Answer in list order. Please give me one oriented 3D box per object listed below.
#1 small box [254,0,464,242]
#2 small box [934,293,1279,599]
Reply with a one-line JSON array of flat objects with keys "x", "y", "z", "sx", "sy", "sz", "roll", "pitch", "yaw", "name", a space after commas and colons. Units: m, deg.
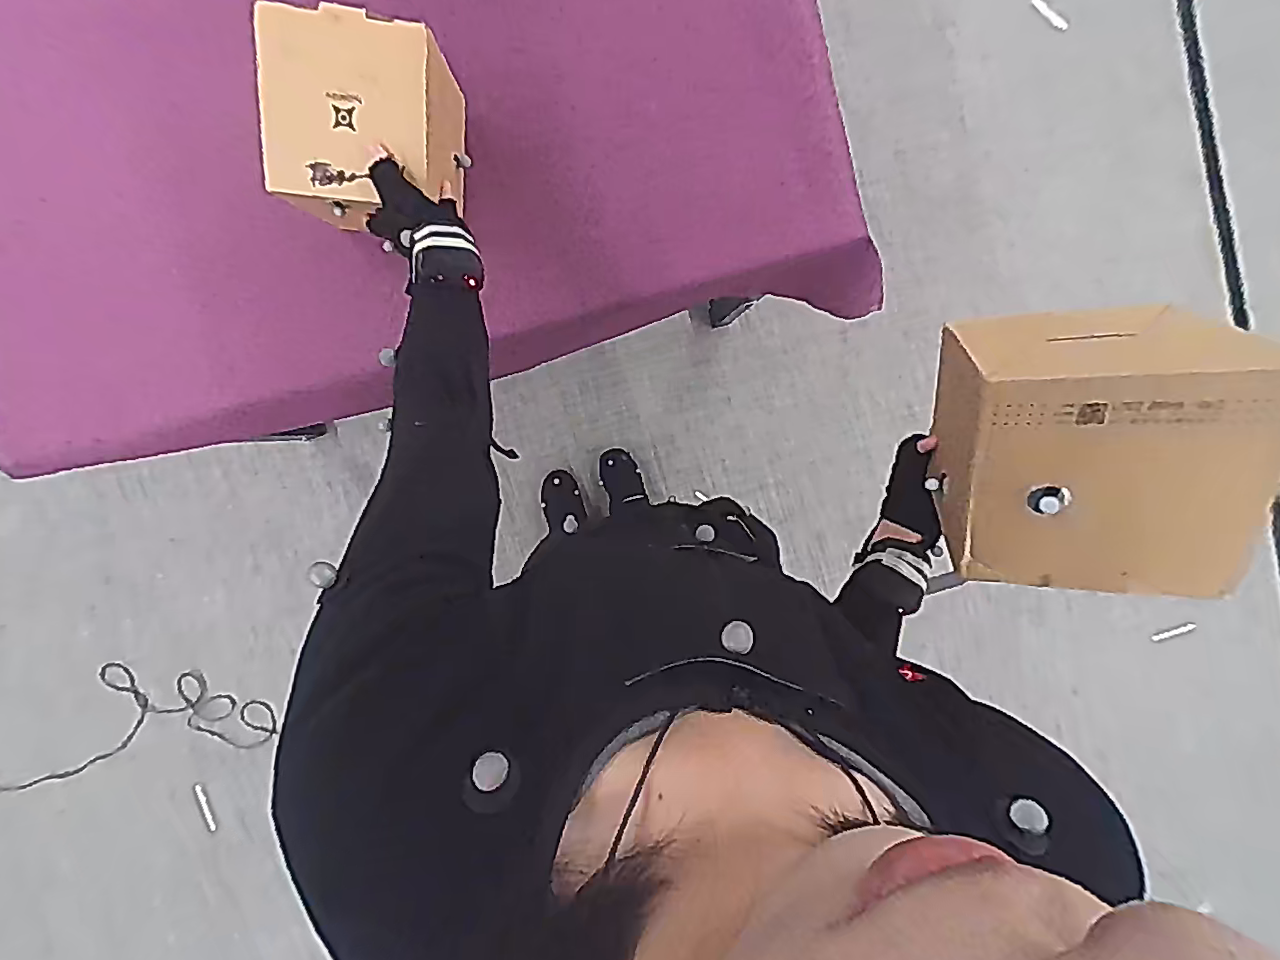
[{"x": -0.306, "y": -0.393, "z": 0.622, "sx": 0.168, "sy": 0.176, "sz": 0.179, "roll": 4, "pitch": 102, "yaw": -6, "name": "small box"}, {"x": 0.336, "y": -0.035, "z": 0.414, "sx": 0.168, "sy": 0.179, "sz": 0.176, "roll": 2, "pitch": 119, "yaw": 20, "name": "small box"}]
